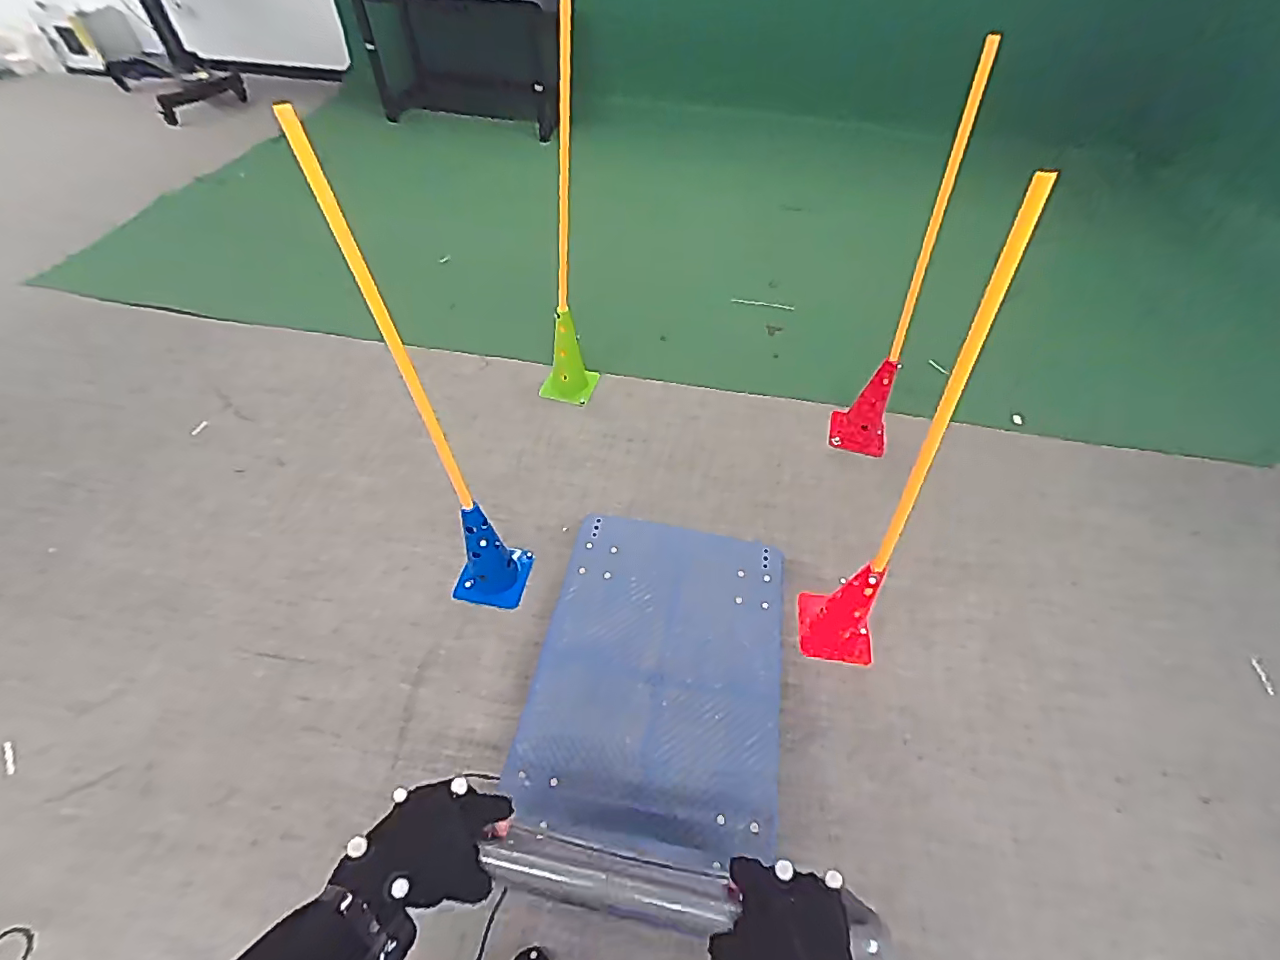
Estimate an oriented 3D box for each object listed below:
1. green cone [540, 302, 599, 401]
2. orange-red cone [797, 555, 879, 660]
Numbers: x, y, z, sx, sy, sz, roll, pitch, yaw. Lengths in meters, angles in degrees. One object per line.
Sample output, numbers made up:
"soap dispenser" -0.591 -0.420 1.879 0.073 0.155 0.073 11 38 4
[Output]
"green cone" -0.281 -0.506 2.052 0.202 0.368 0.200 12 51 8
"orange-red cone" 0.557 0.309 1.441 0.199 0.360 0.198 8 51 6
